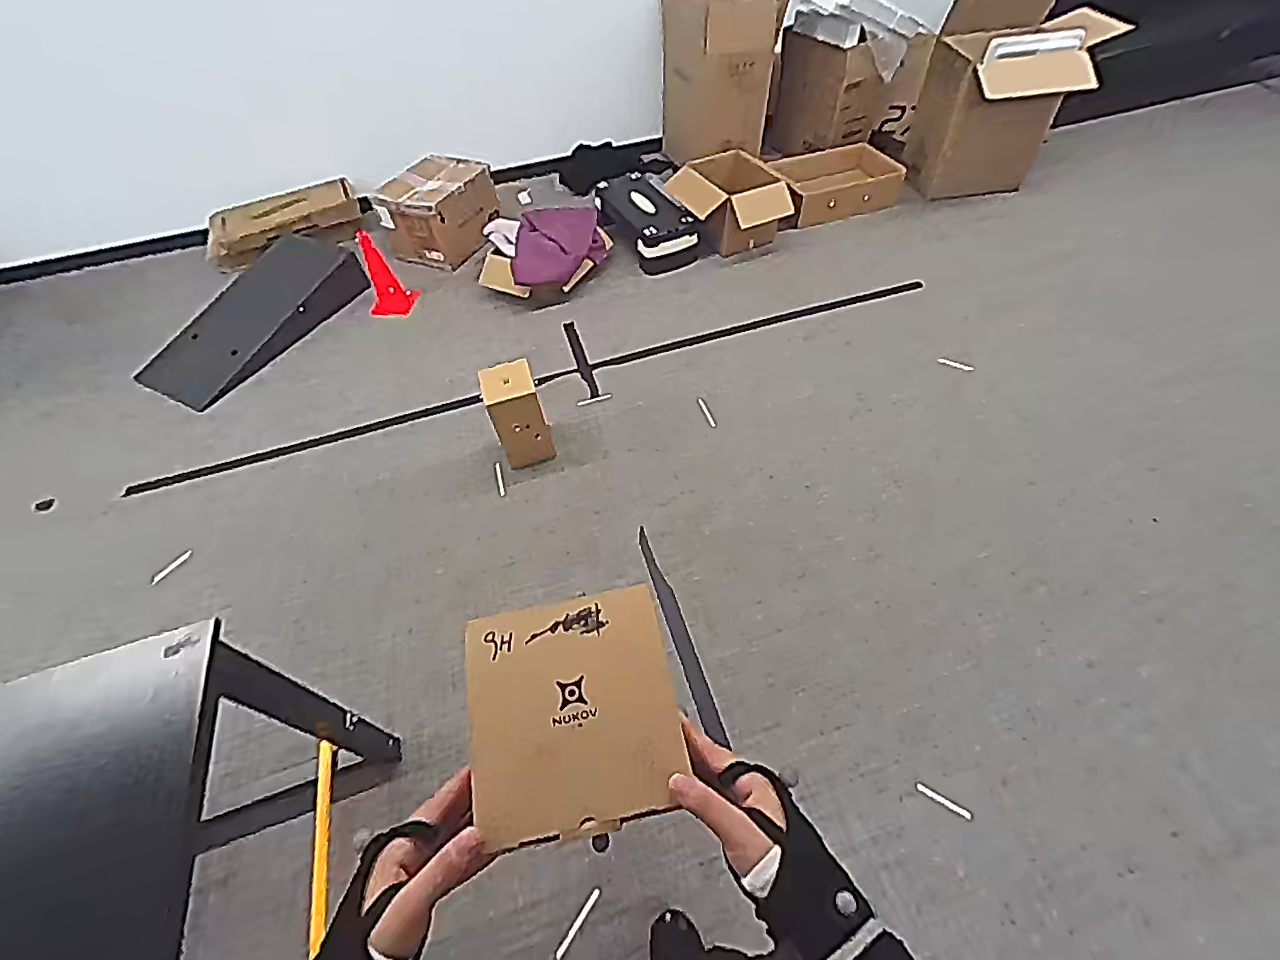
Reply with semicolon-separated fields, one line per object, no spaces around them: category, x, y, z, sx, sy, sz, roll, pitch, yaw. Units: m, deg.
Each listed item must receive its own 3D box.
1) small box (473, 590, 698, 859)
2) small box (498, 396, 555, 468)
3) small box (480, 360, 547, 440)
small box;-0.048;0.226;0.509;0.168;0.176;0.179;-11;60;-5
small box;-0.410;-0.170;1.935;0.179;0.176;0.168;-18;53;-9
small box;-0.421;-0.265;1.803;0.168;0.176;0.179;-18;54;-7
